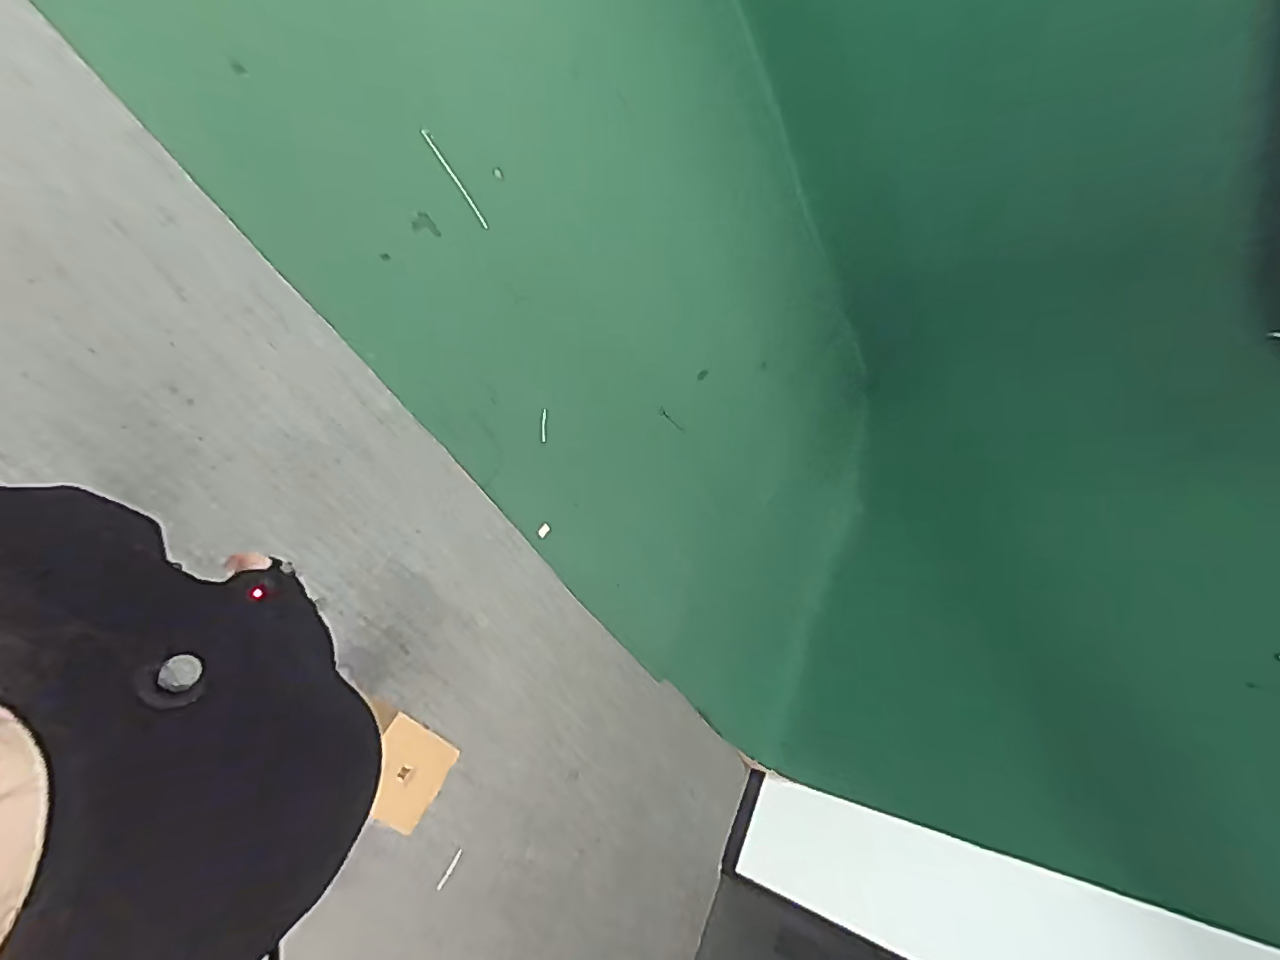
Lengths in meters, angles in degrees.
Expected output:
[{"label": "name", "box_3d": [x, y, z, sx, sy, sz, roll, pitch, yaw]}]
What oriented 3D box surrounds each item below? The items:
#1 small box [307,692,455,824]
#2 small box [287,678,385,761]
[{"label": "small box", "box_3d": [-0.522, 0.553, 1.094, 0.179, 0.176, 0.168, 53, 50, -31]}, {"label": "small box", "box_3d": [-0.640, 0.561, 1.206, 0.179, 0.176, 0.168, 53, 51, -31]}]
